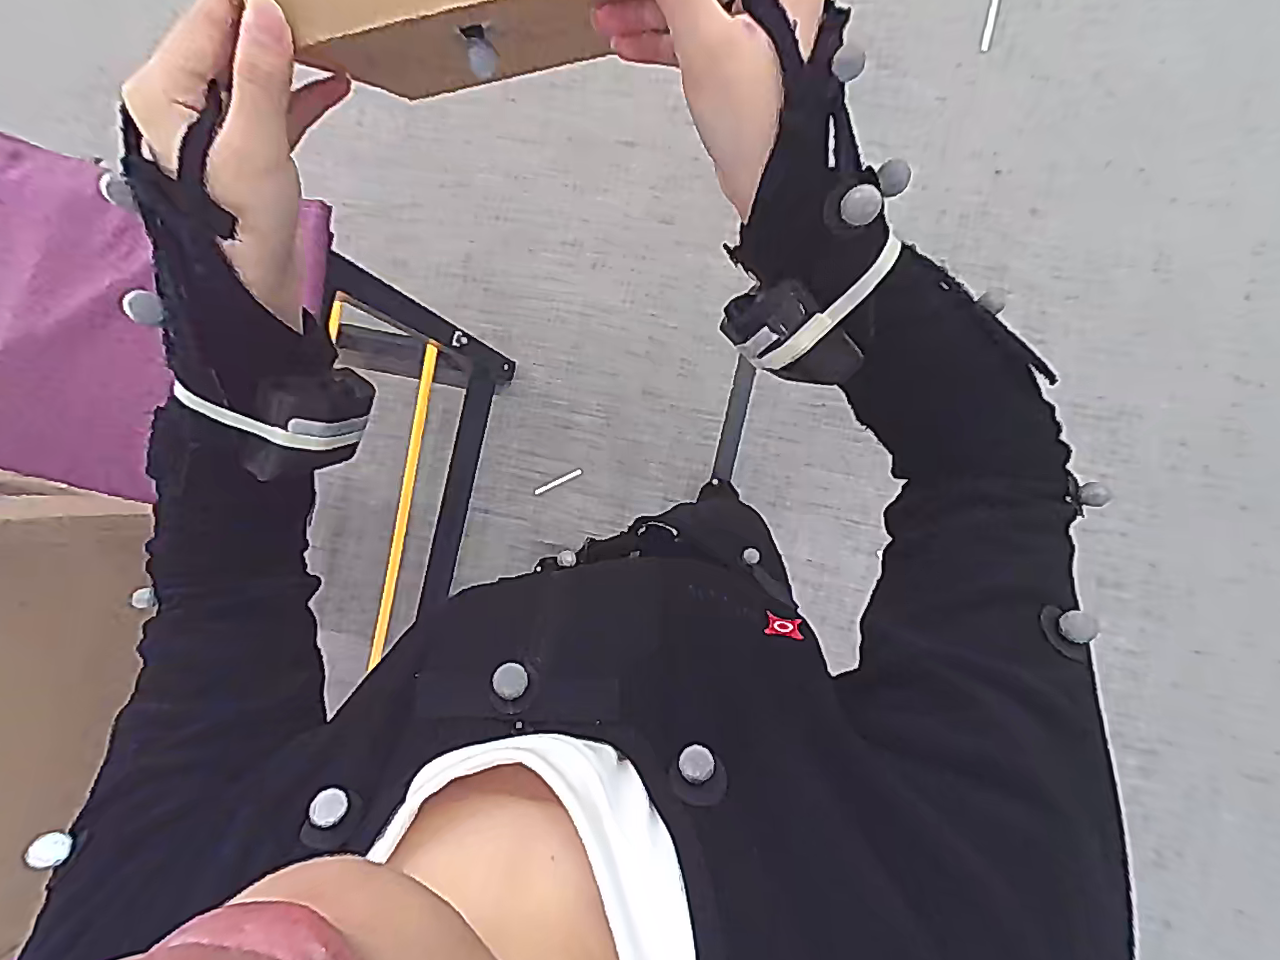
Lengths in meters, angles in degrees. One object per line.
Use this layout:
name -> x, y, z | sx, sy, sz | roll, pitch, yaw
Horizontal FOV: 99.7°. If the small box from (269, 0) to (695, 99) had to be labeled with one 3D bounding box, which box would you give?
small box -> -0.074, -0.295, 0.249 | 0.179, 0.176, 0.168 | -9, 120, 4
